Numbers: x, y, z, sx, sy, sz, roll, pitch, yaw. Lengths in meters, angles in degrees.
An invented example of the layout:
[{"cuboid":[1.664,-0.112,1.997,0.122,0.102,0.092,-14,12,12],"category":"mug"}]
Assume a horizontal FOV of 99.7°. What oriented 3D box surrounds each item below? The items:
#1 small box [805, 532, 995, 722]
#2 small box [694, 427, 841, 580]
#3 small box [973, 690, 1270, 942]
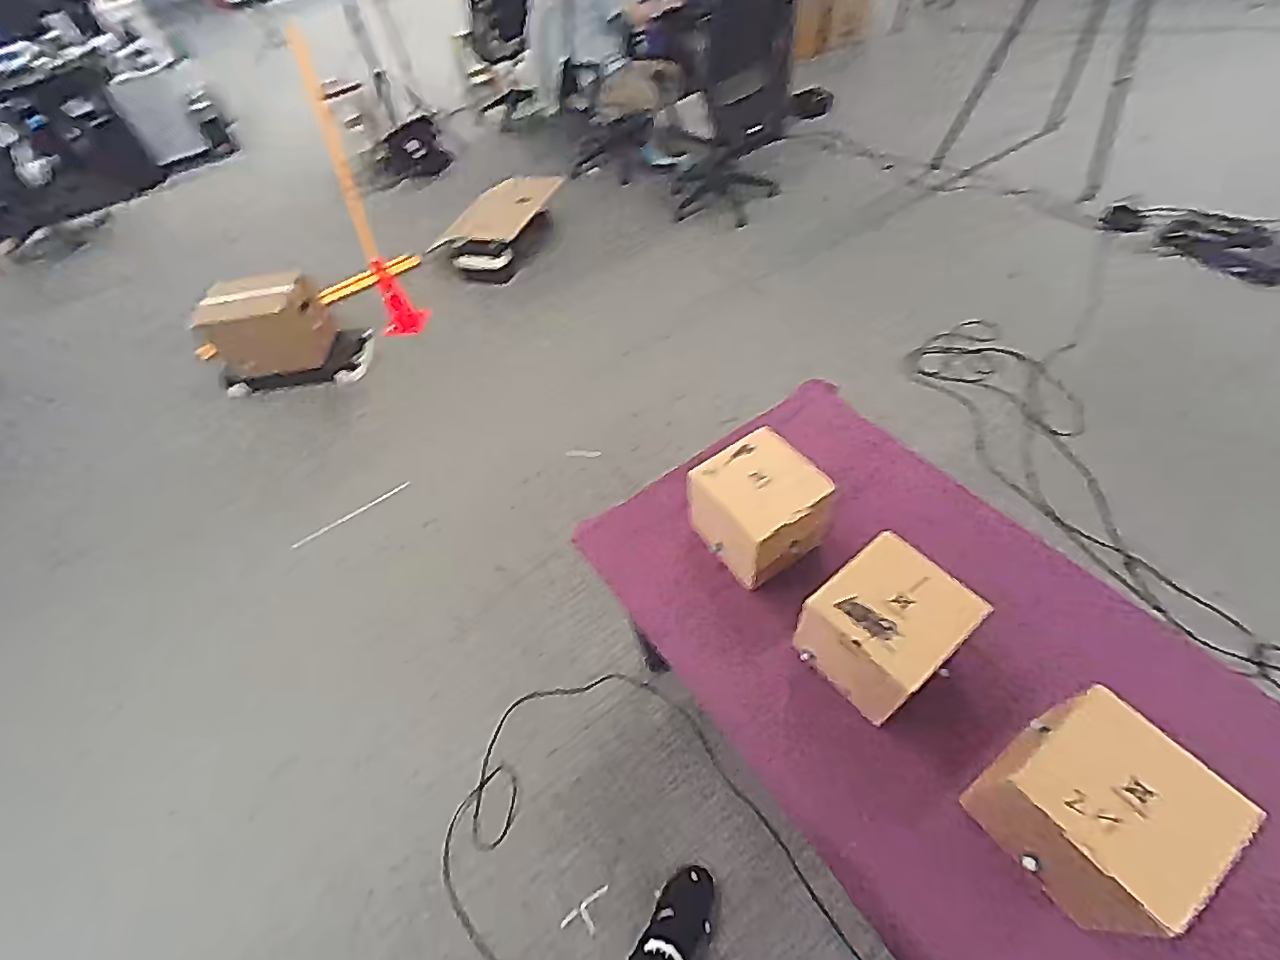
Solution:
[{"cuboid":[0.359,0.216,0.784,0.179,0.176,0.168,-34,56,-18],"category":"small box"},{"cuboid":[0.209,0.049,0.930,0.168,0.176,0.179,-30,56,-15],"category":"small box"},{"cuboid":[0.536,0.385,0.632,0.179,0.176,0.168,-32,55,-16],"category":"small box"}]
